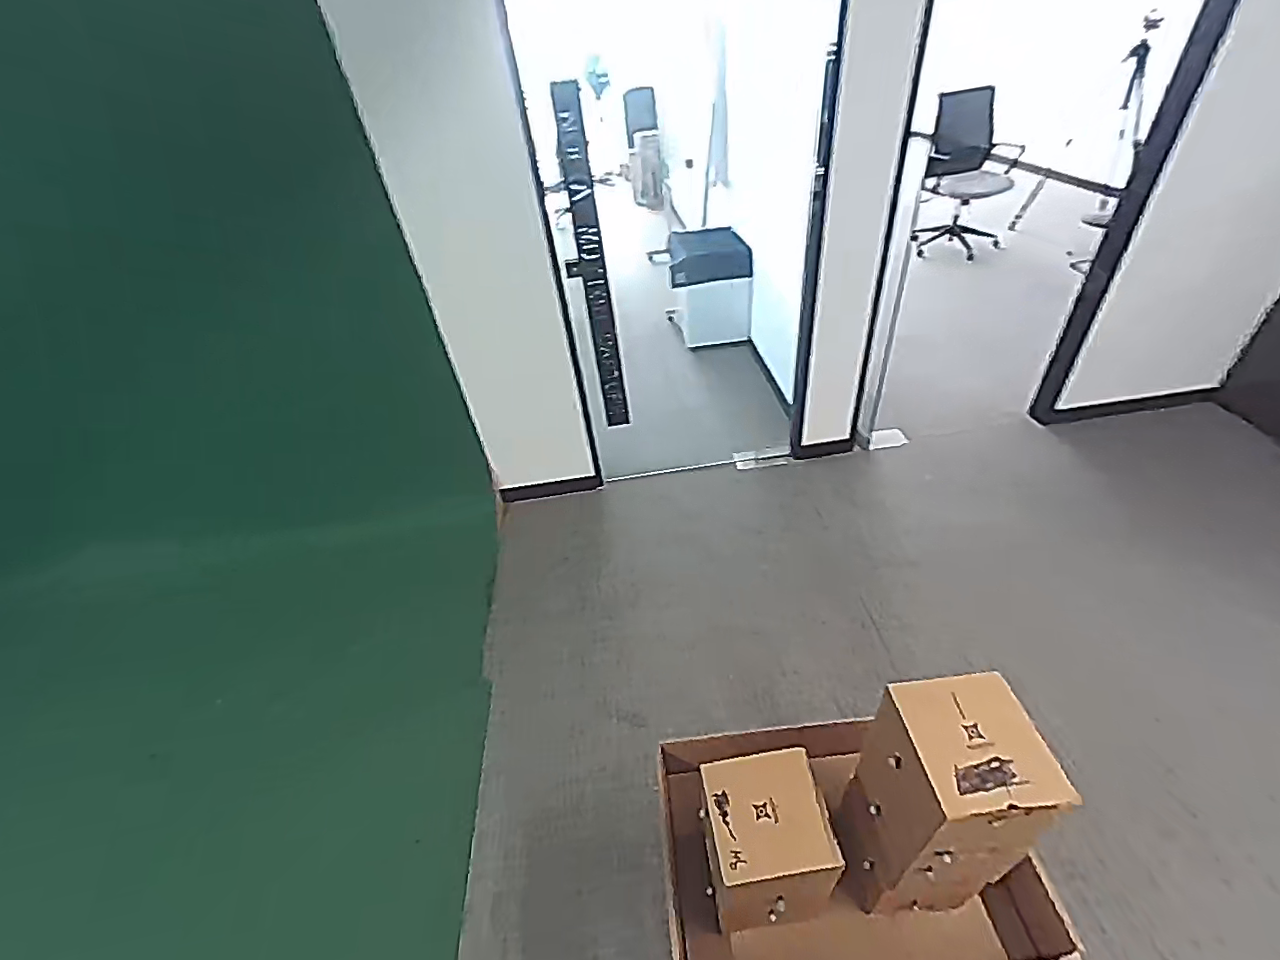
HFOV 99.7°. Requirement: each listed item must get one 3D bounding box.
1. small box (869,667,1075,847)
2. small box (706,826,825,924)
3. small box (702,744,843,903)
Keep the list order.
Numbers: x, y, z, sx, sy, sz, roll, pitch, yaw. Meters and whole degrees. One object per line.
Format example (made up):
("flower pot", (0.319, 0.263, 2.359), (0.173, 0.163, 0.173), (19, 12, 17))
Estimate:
("small box", (0.444, 0.392, 0.760), (0.168, 0.176, 0.179), (-6, 39, 1))
("small box", (0.214, 0.674, 0.974), (0.179, 0.176, 0.168), (-6, 40, -1))
("small box", (0.199, 0.550, 0.867), (0.179, 0.176, 0.168), (-8, 41, -1))
